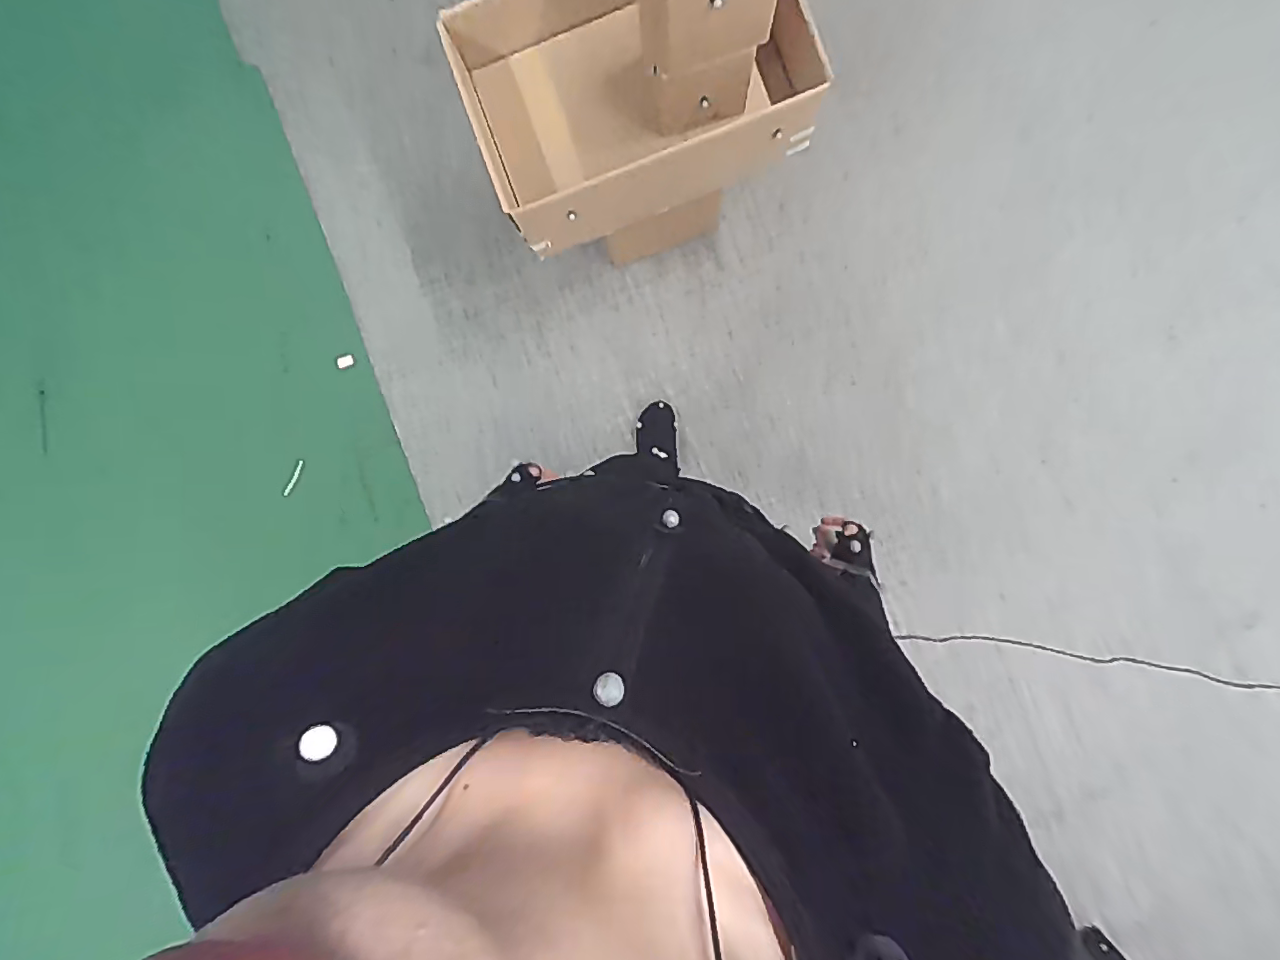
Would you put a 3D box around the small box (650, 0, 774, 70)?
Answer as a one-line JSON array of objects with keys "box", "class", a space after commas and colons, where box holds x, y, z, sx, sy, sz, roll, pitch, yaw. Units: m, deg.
[{"box": [0.104, -0.776, 0.819, 0.179, 0.176, 0.168, -16, 89, 4], "class": "small box"}]

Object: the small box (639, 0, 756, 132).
[{"box": [0.102, -0.775, 0.984, 0.168, 0.176, 0.179, -15, 89, 4], "class": "small box"}]
